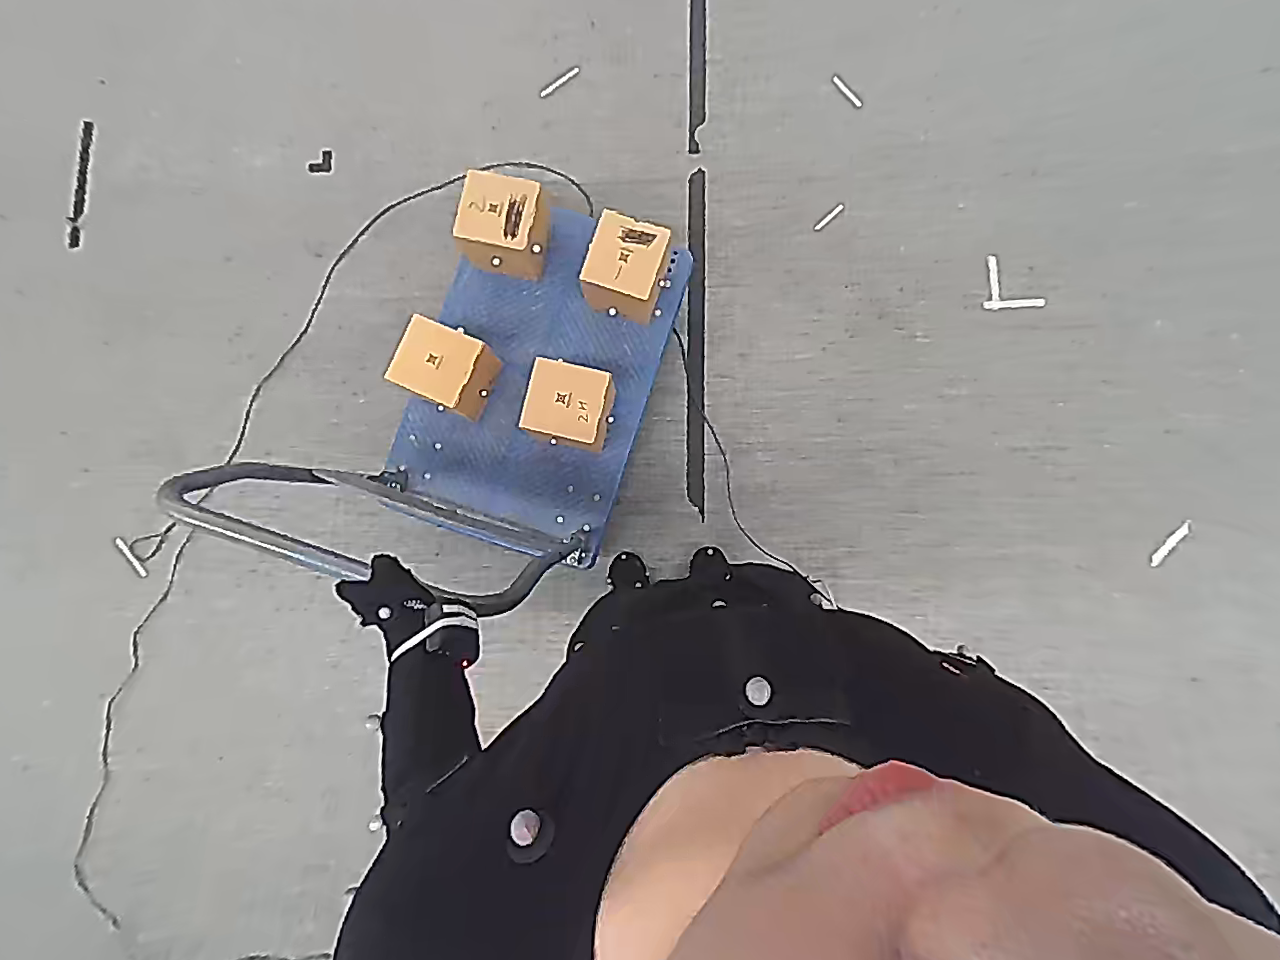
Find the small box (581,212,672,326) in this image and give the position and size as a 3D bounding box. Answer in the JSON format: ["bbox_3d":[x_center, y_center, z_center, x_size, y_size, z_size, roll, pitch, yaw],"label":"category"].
[{"bbox_3d":[-0.031,-0.499,1.301,0.168,0.176,0.179,18,87,2],"label":"small box"}]

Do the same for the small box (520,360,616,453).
[{"bbox_3d":[-0.162,-0.165,1.278,0.179,0.176,0.168,13,86,2],"label":"small box"}]
